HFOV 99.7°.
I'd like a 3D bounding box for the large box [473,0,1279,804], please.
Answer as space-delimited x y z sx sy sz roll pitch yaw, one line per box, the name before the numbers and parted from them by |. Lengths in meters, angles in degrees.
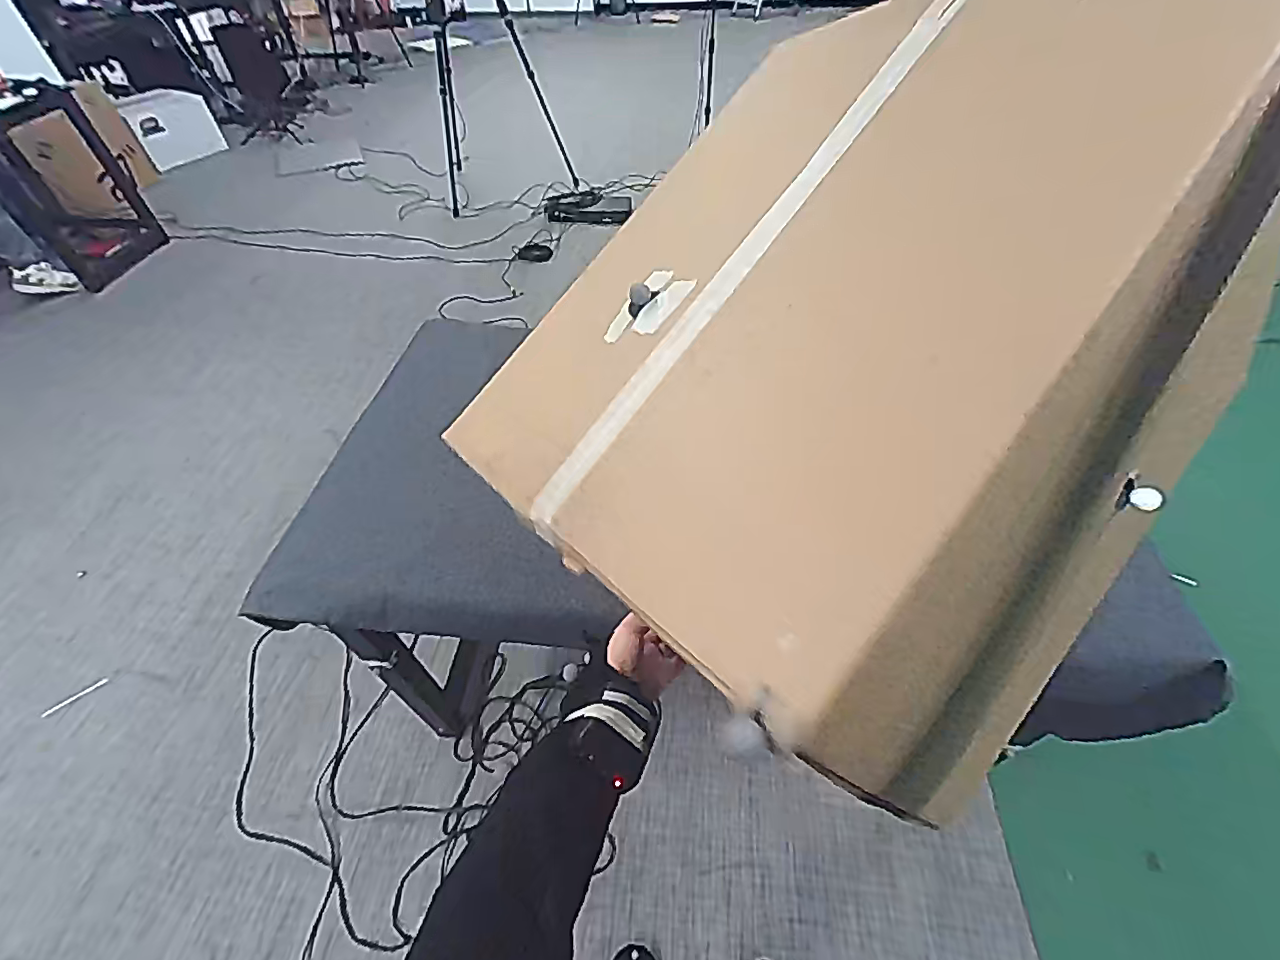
large box | 0.165 -0.049 0.407 0.320 0.320 0.408 29 80 46
